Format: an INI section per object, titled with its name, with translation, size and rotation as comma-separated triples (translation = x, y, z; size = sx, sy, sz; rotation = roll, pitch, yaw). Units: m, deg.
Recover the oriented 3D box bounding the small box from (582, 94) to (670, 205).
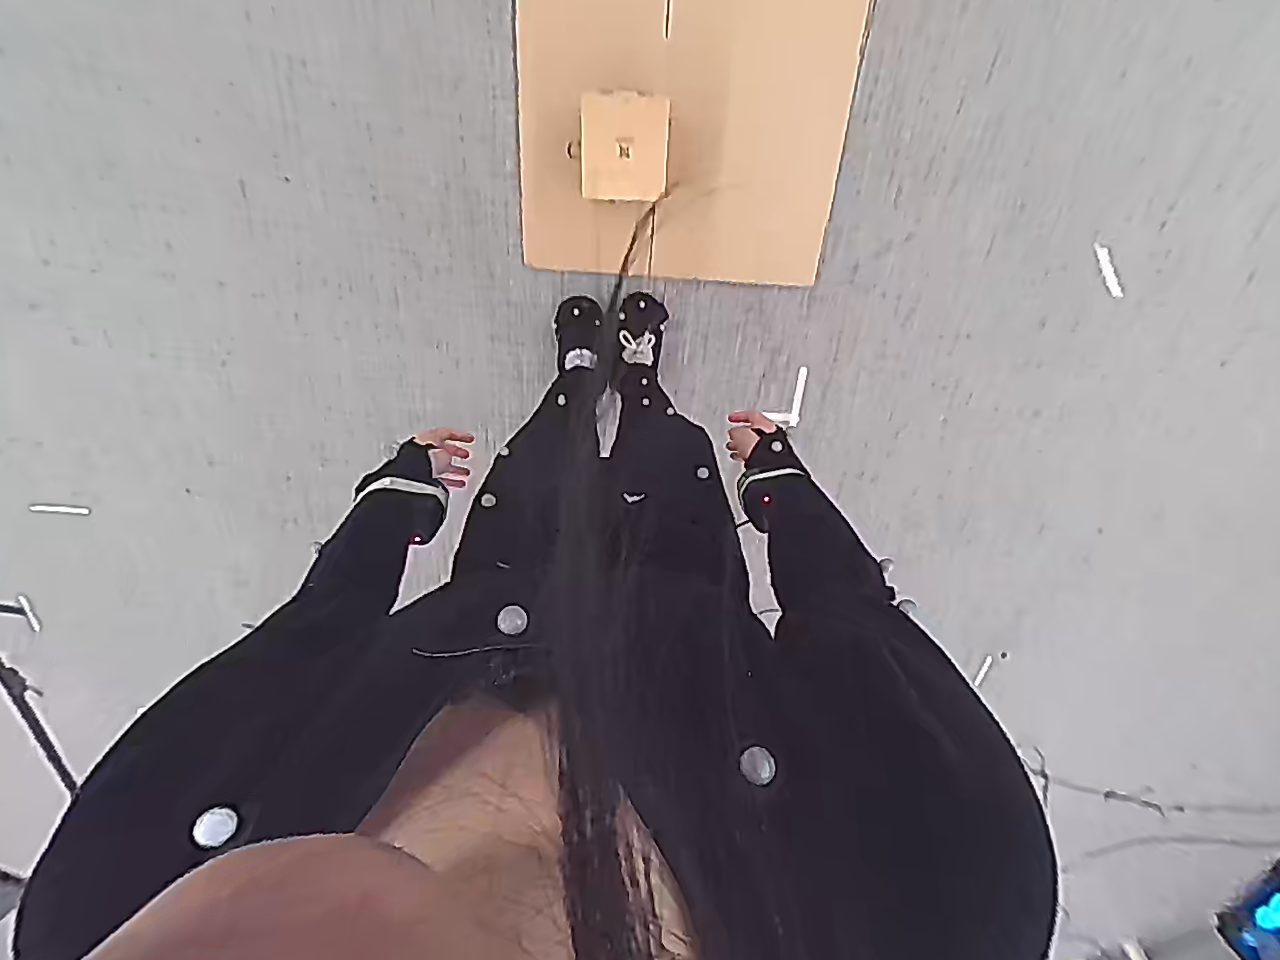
[small box]
translation = -0.030, -0.662, 1.098
size = 0.168, 0.176, 0.179
rotation = 1, 117, -3
